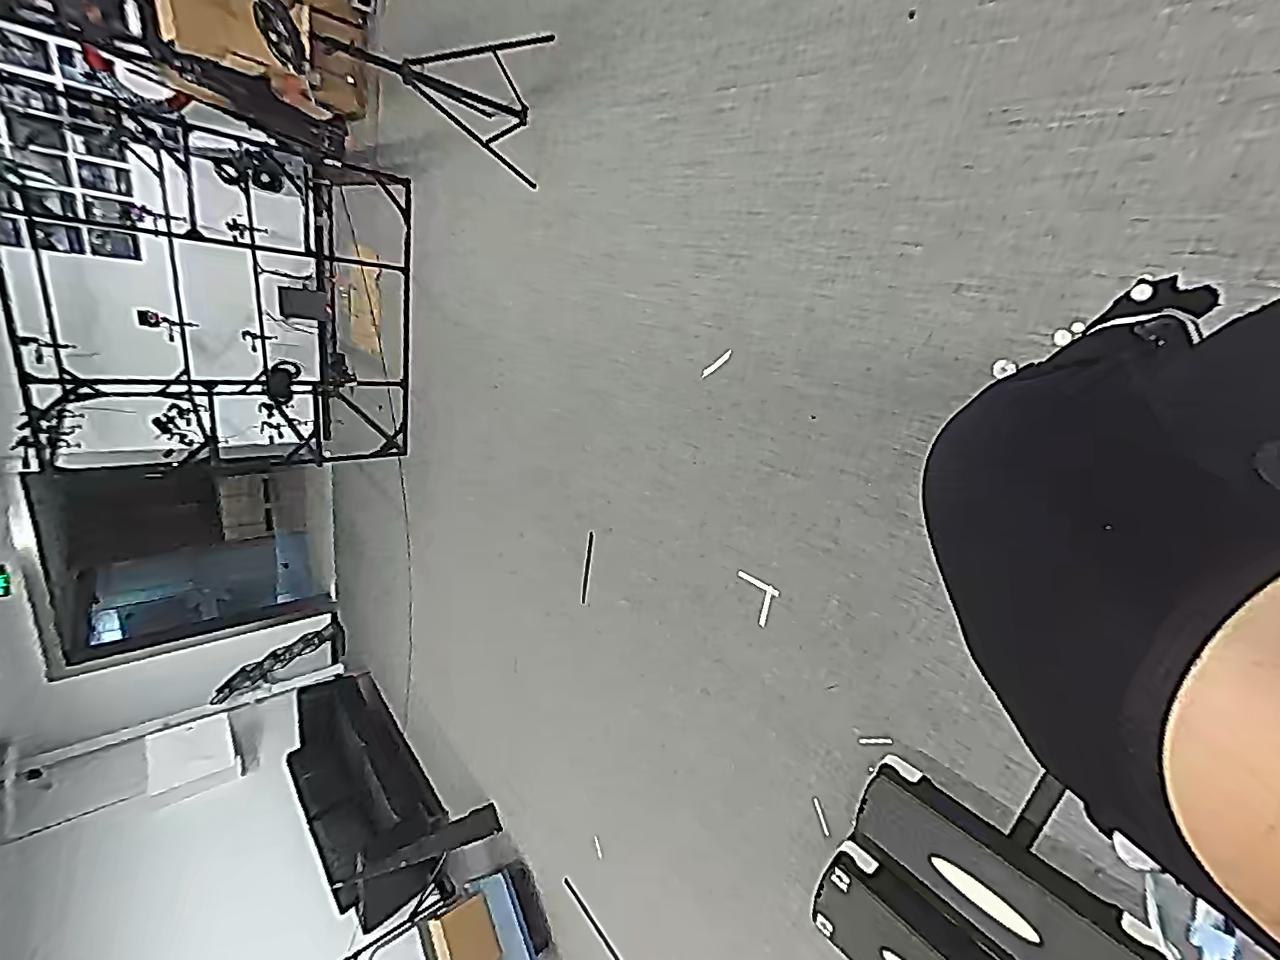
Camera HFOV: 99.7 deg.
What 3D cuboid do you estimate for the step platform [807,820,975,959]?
[{"bbox_3d":[0.803,1.313,1.479,0.684,0.204,0.286,27,116,44],"label":"step platform"}]
